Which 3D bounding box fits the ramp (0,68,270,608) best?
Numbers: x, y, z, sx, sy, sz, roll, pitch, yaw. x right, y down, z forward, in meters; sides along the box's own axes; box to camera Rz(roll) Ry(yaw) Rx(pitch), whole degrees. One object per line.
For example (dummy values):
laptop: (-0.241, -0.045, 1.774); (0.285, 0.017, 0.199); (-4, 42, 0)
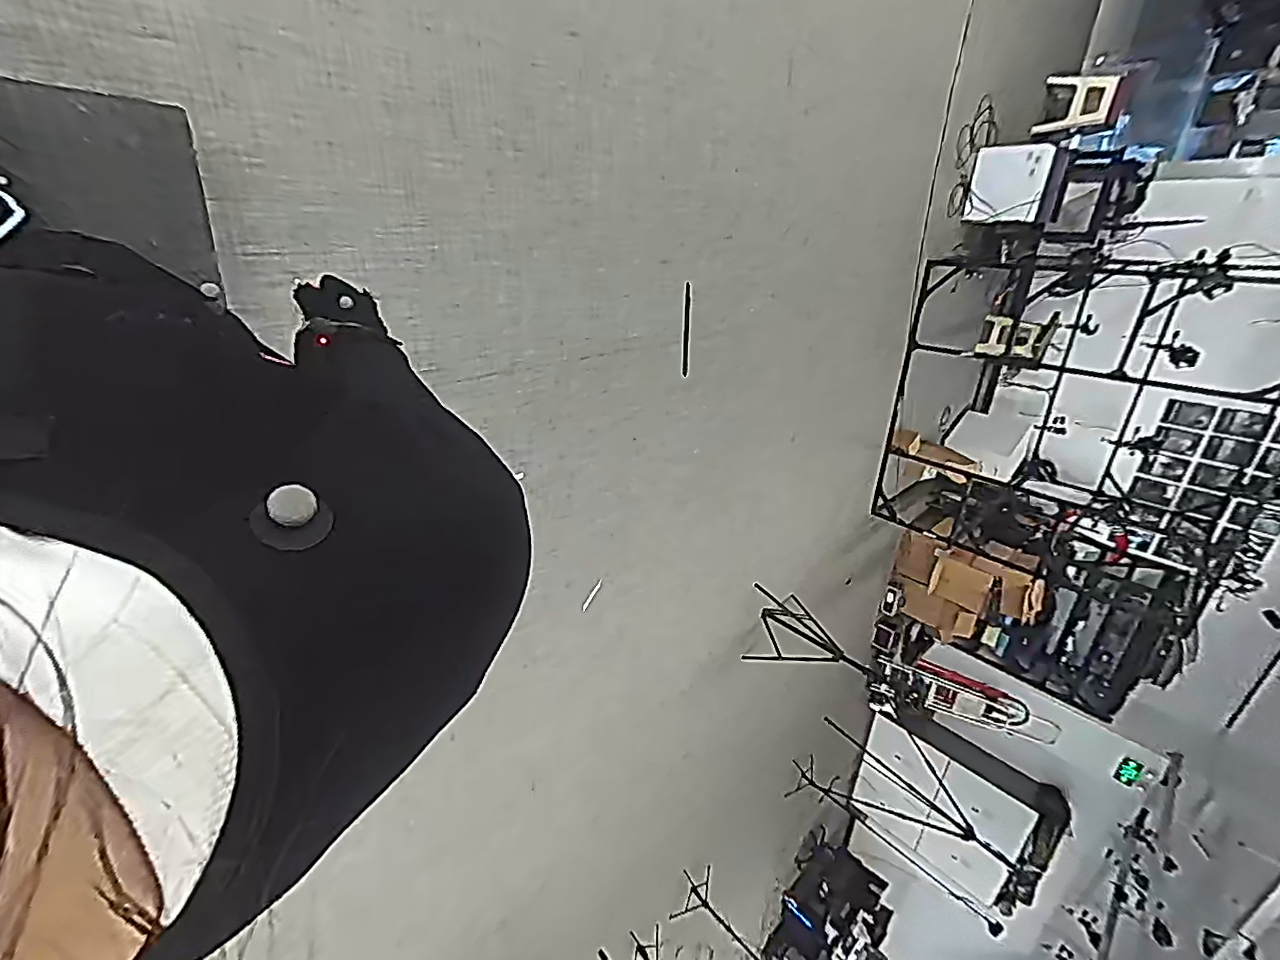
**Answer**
ramp: (-1.085, -0.202, 1.053); (0.509, 0.206, 0.991); (-21, 124, -40)
